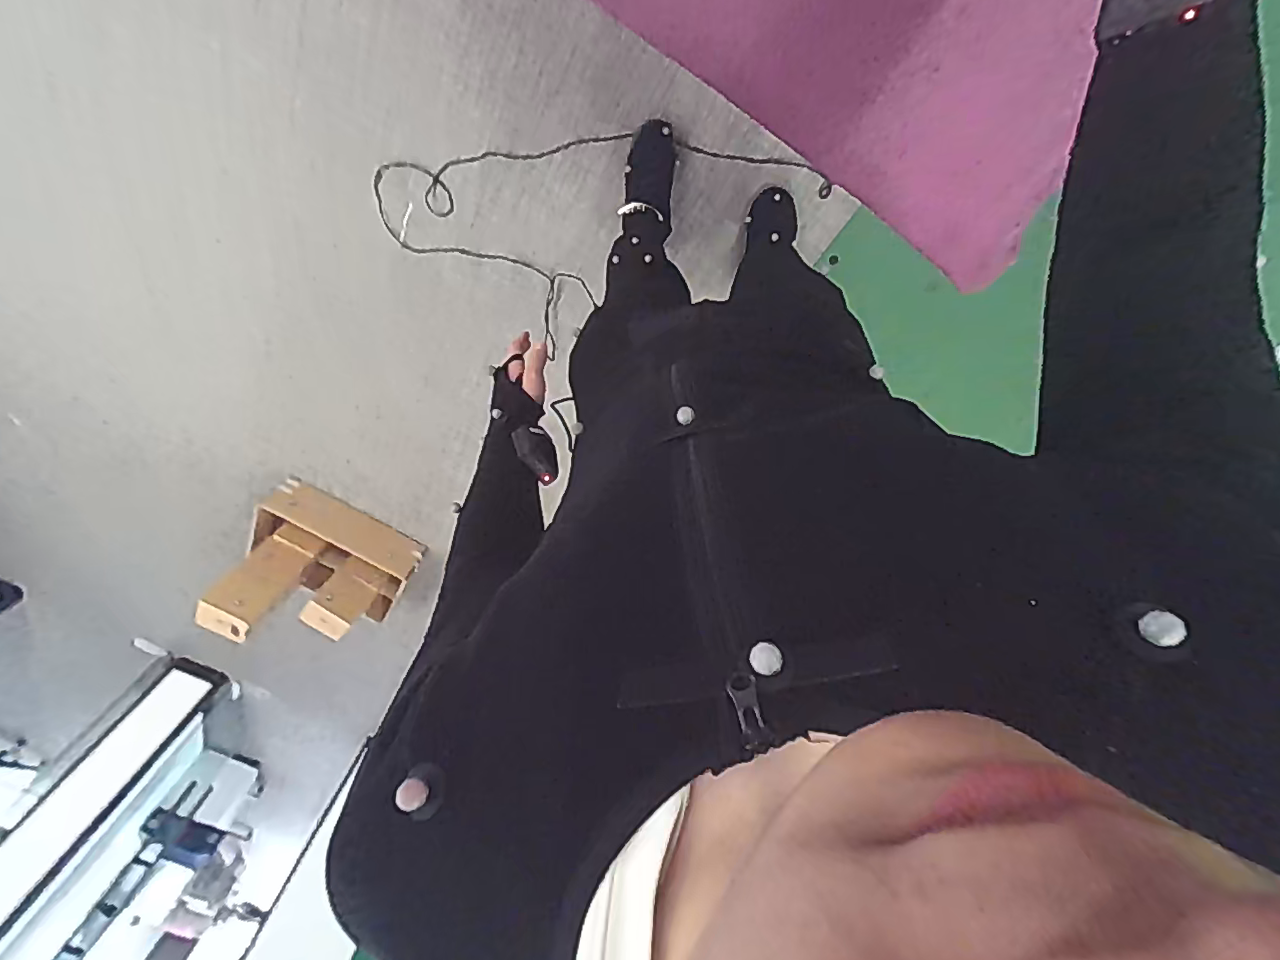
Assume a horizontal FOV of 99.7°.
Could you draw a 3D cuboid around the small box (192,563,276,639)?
[{"bbox_3d":[-1.448,0.429,1.935,0.179,0.176,0.168,33,125,-12],"label":"small box"}]
